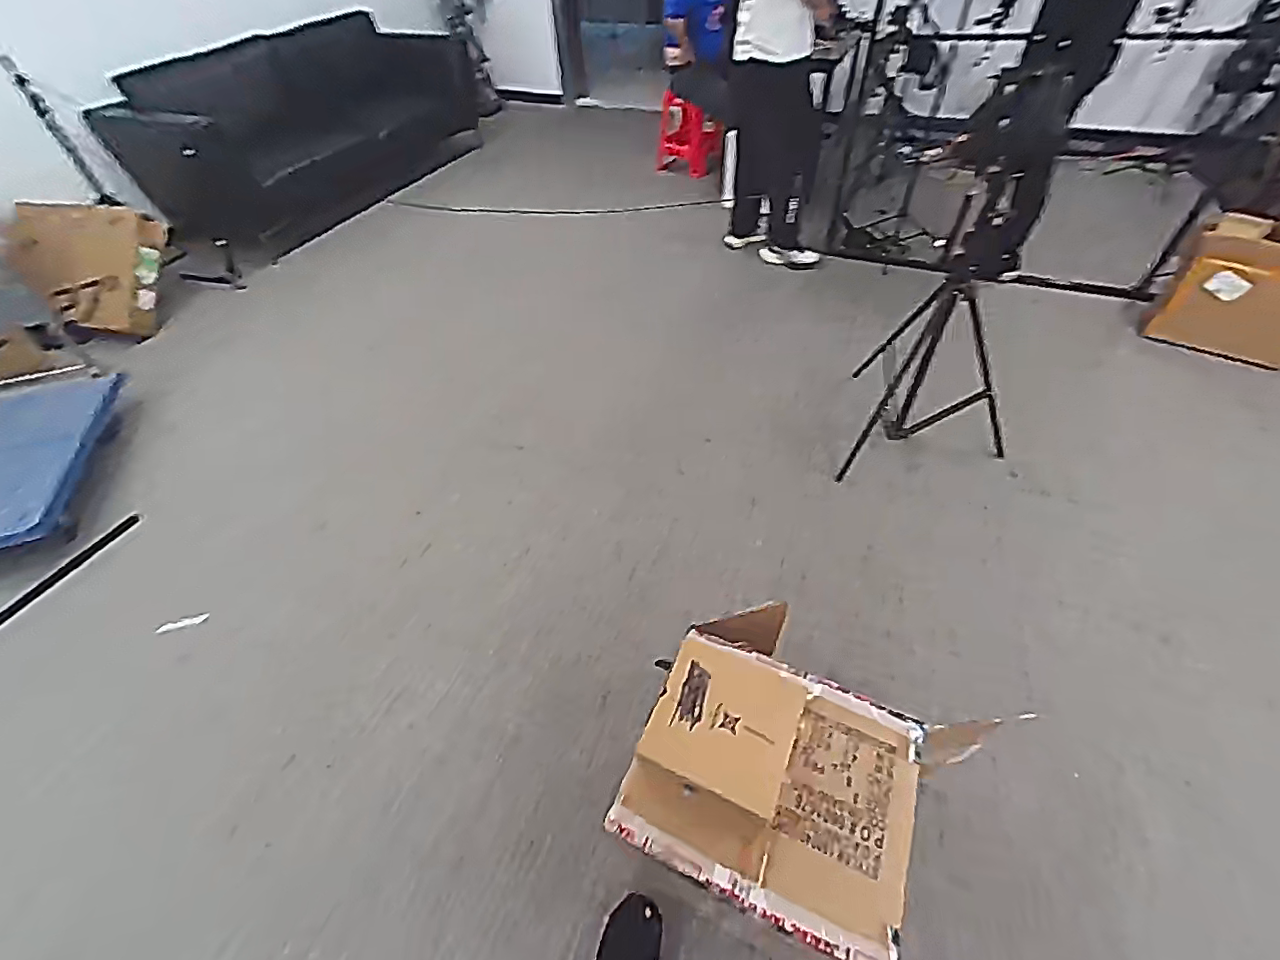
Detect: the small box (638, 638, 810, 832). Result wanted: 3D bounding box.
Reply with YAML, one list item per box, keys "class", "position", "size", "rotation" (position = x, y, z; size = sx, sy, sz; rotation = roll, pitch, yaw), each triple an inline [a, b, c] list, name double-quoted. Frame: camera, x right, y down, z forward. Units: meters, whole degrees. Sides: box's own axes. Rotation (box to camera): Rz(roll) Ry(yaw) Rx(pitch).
- class: "small box"
  position: [0.113, 0.353, 0.744]
  size: [0.179, 0.176, 0.168]
  rotation: [19, 54, 19]
